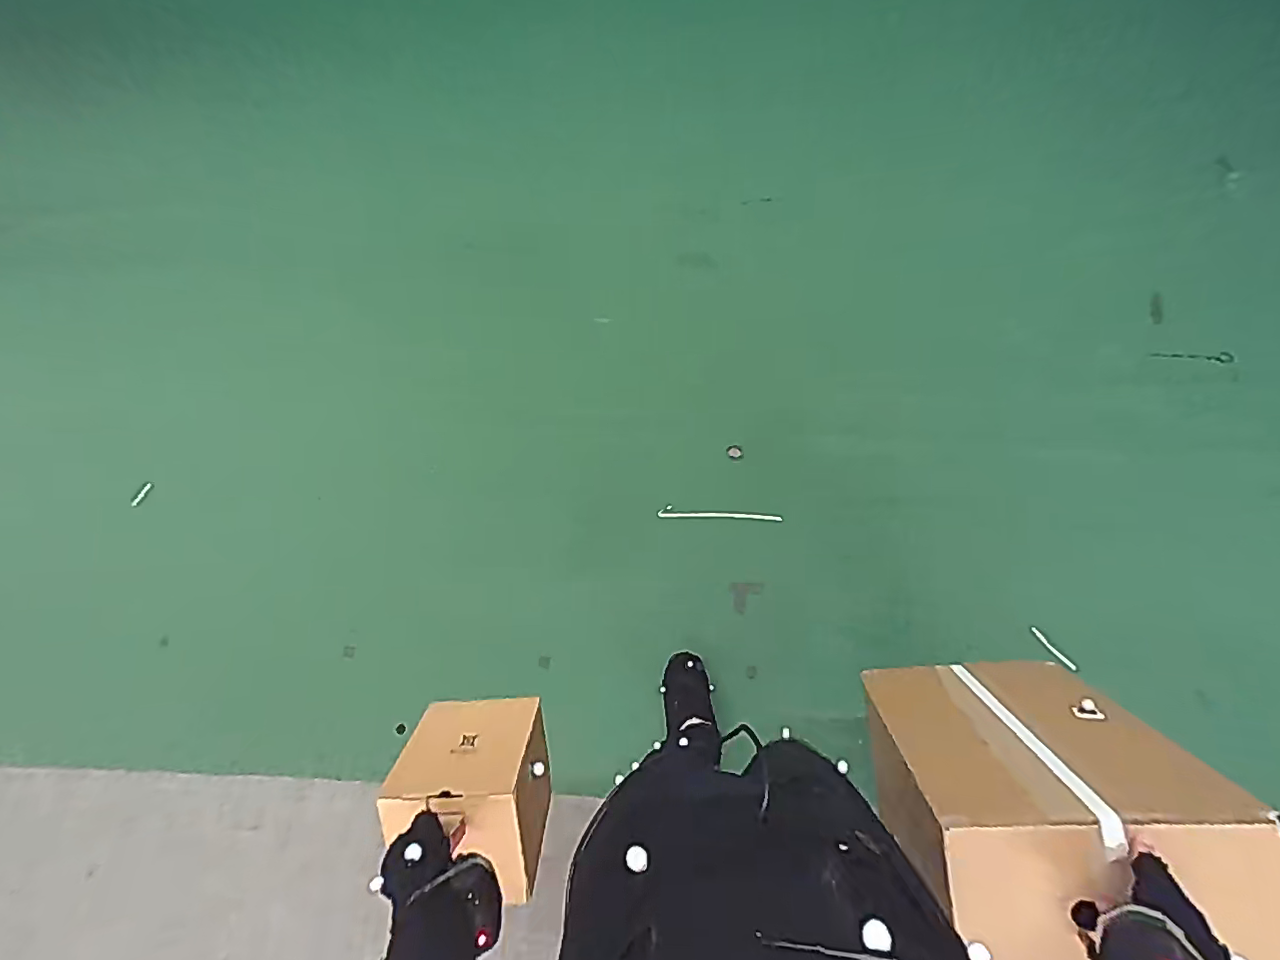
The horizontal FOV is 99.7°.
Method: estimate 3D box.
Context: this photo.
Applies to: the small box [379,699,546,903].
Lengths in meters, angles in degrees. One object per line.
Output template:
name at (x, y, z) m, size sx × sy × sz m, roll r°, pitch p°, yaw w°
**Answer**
small box at (-0.227, 0.429, 0.740) m, size 0.168 × 0.179 × 0.176 m, roll -3°, pitch 106°, yaw 1°
